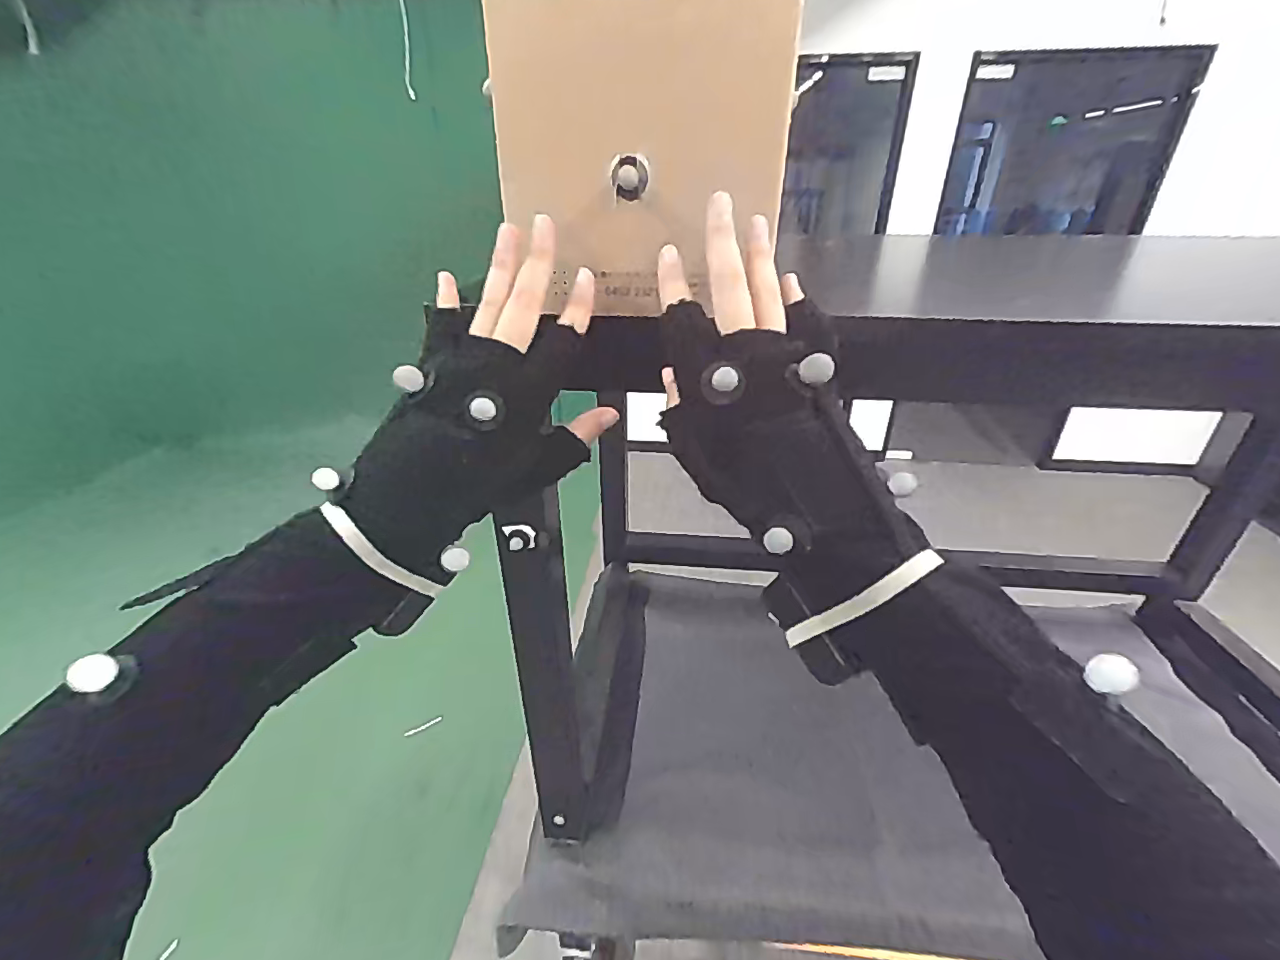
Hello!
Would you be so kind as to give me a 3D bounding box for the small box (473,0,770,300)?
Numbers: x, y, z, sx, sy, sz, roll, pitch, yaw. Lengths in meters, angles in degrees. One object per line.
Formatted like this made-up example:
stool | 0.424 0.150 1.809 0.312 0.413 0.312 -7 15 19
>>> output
small box | -0.003 -0.233 0.397 0.168 0.176 0.179 3 29 3
